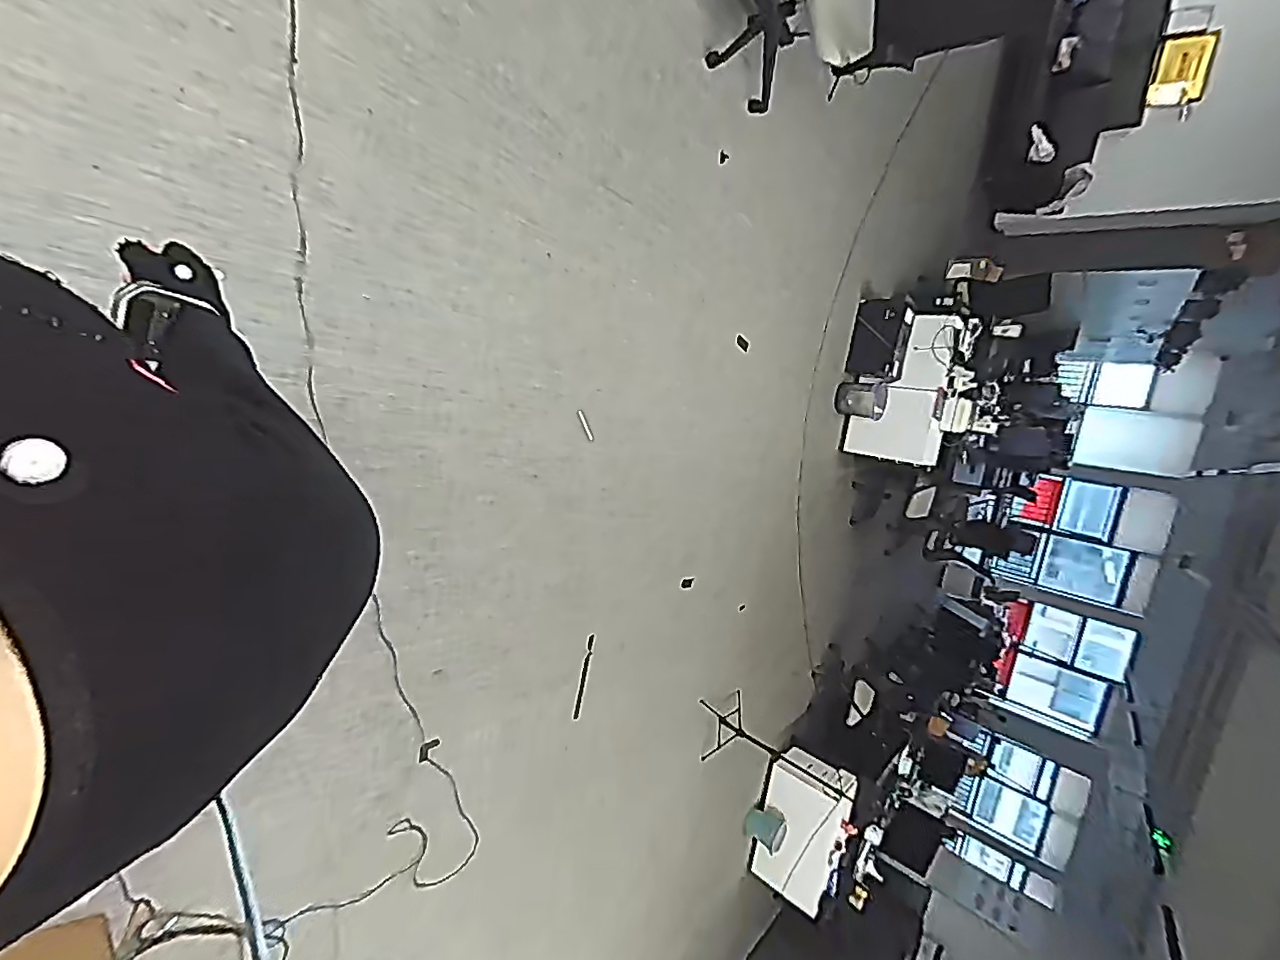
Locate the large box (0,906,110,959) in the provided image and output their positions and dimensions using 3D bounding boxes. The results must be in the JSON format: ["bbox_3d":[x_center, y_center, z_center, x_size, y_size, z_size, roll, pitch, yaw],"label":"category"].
[{"bbox_3d":[-1.317,1.114,1.008,0.408,0.320,0.320,24,83,-52],"label":"large box"}]
